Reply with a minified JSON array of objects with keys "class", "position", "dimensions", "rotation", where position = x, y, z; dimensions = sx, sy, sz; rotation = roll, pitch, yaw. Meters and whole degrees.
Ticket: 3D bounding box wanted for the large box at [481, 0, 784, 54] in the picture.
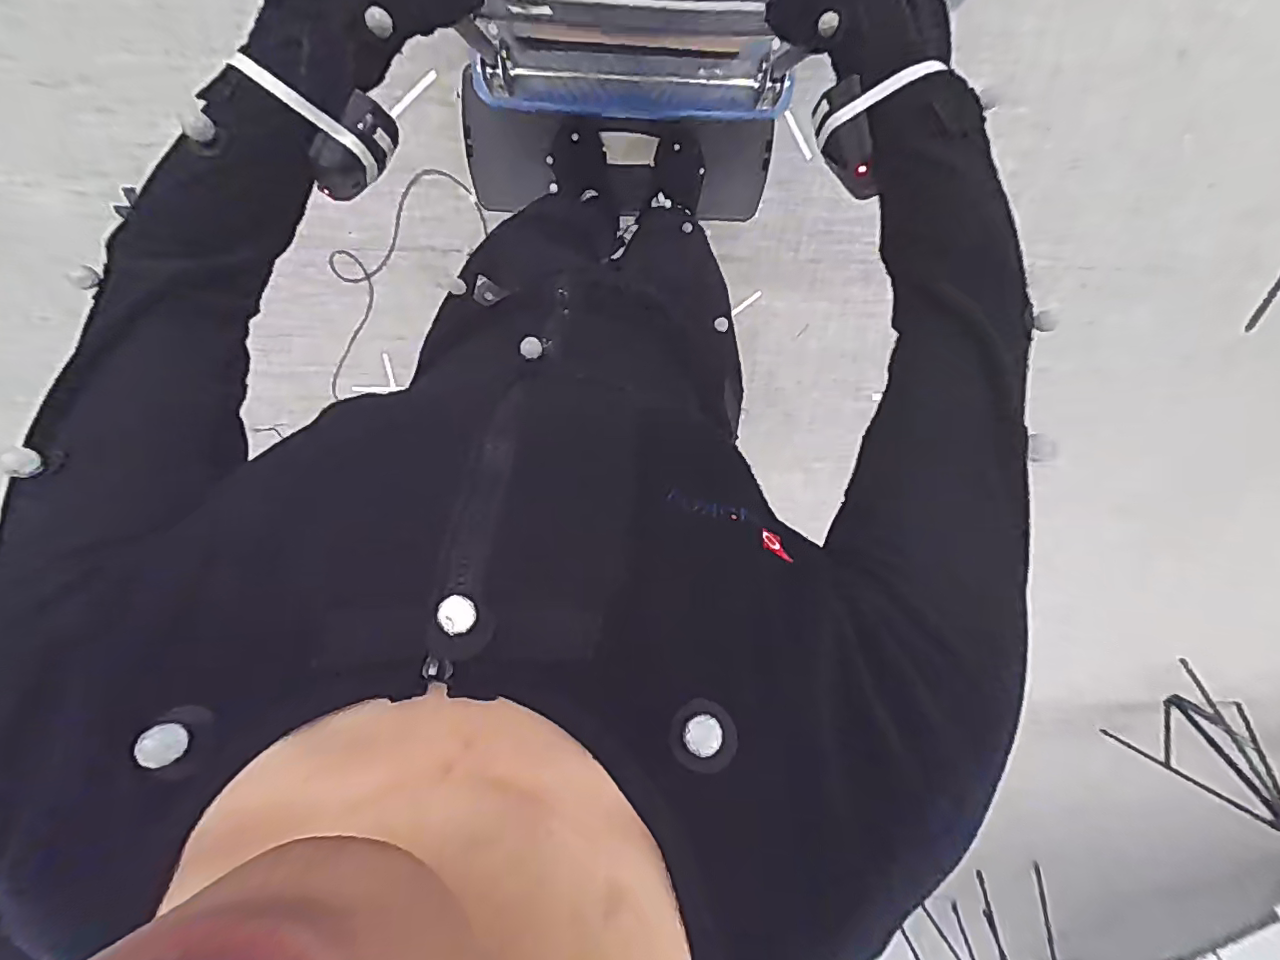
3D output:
[{"class":"large box","position":[-0.017,-0.806,0.732],"dimensions":[0.408,0.320,0.320],"rotation":[0,119,-4]}]
